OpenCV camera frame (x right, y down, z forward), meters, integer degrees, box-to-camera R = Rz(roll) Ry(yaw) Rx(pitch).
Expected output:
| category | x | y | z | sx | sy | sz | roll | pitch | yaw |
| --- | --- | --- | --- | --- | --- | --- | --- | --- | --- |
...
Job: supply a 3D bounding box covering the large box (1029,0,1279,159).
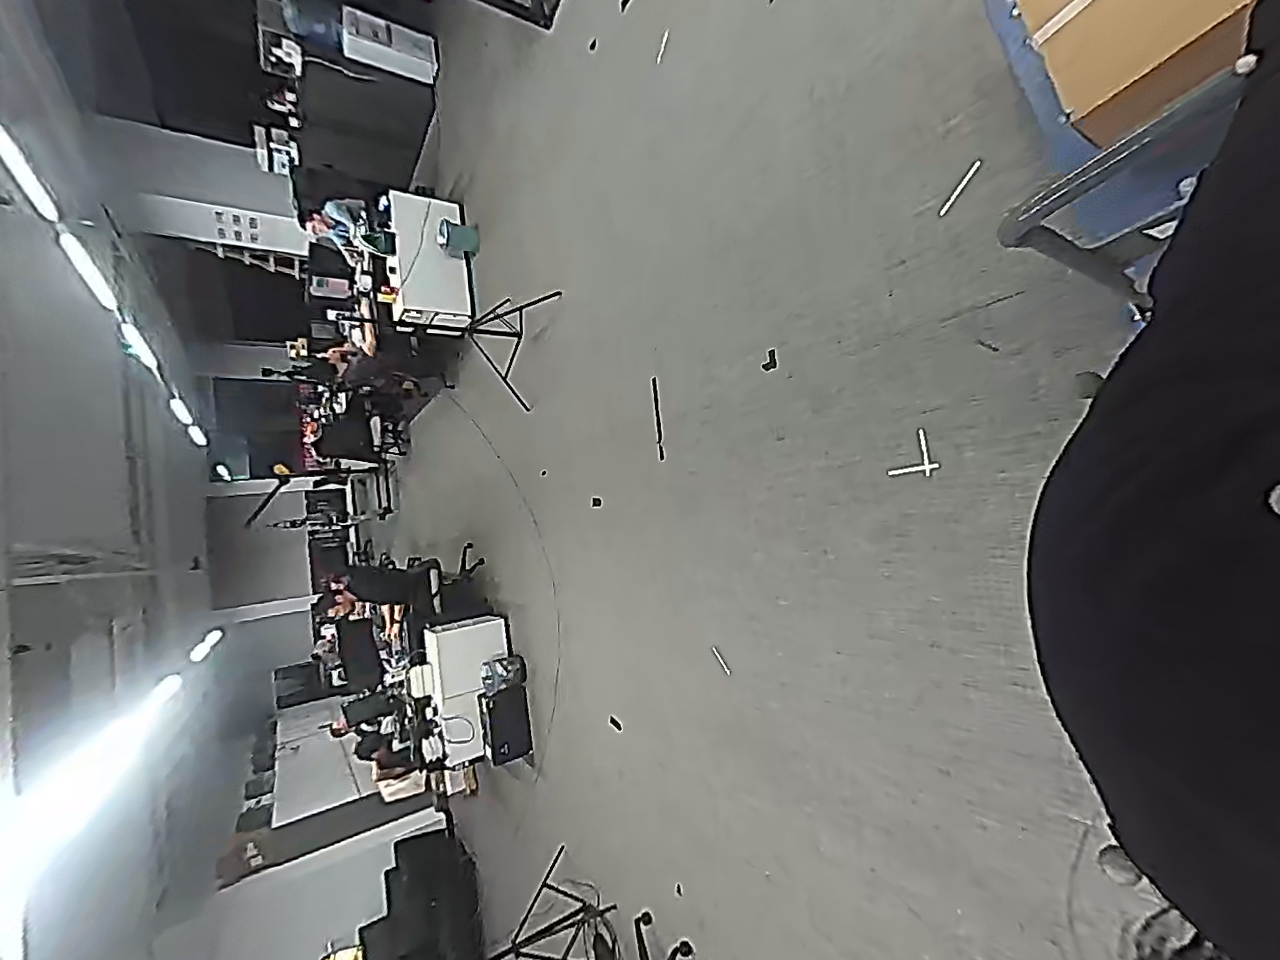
| category | x | y | z | sx | sy | sz | roll | pitch | yaw |
| --- | --- | --- | --- | --- | --- | --- | --- | --- | --- |
| large box | 0.881 | -0.775 | 0.787 | 0.408 | 0.320 | 0.320 | -29 | 70 | 55 |
